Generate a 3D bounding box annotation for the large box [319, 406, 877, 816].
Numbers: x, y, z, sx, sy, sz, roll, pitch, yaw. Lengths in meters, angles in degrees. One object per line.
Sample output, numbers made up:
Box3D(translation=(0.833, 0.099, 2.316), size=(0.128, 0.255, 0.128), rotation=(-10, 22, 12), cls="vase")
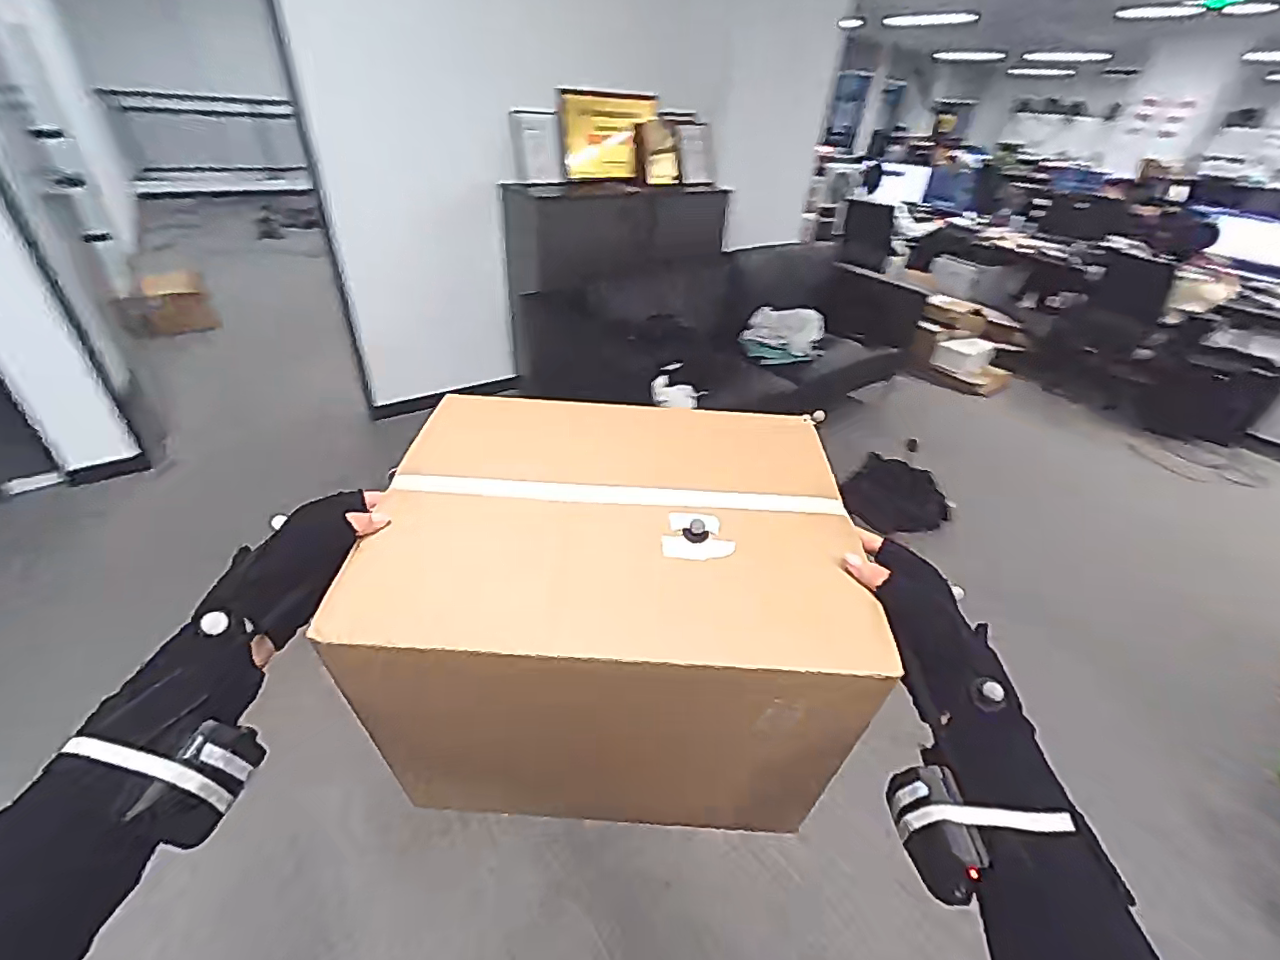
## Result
Box3D(translation=(-0.034, 0.138, 0.586), size=(0.408, 0.320, 0.320), rotation=(3, 41, -1), cls="large box")
